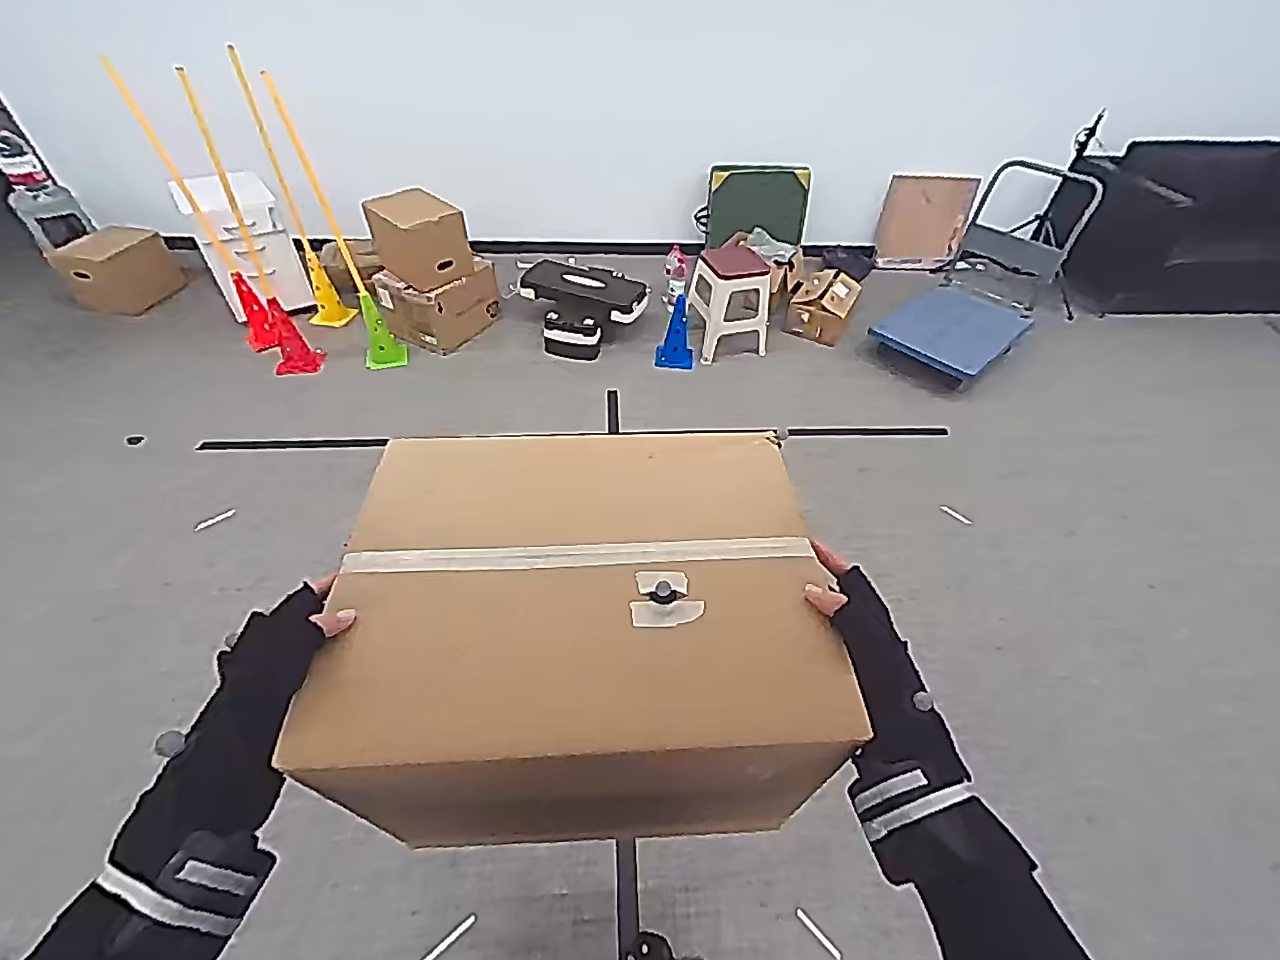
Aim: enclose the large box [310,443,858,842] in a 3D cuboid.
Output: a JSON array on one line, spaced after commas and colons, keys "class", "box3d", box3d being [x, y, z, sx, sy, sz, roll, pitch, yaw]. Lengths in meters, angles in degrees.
[{"class": "large box", "box3d": [-0.048, 0.177, 0.595, 0.408, 0.320, 0.320, -1, 48, -3]}]
